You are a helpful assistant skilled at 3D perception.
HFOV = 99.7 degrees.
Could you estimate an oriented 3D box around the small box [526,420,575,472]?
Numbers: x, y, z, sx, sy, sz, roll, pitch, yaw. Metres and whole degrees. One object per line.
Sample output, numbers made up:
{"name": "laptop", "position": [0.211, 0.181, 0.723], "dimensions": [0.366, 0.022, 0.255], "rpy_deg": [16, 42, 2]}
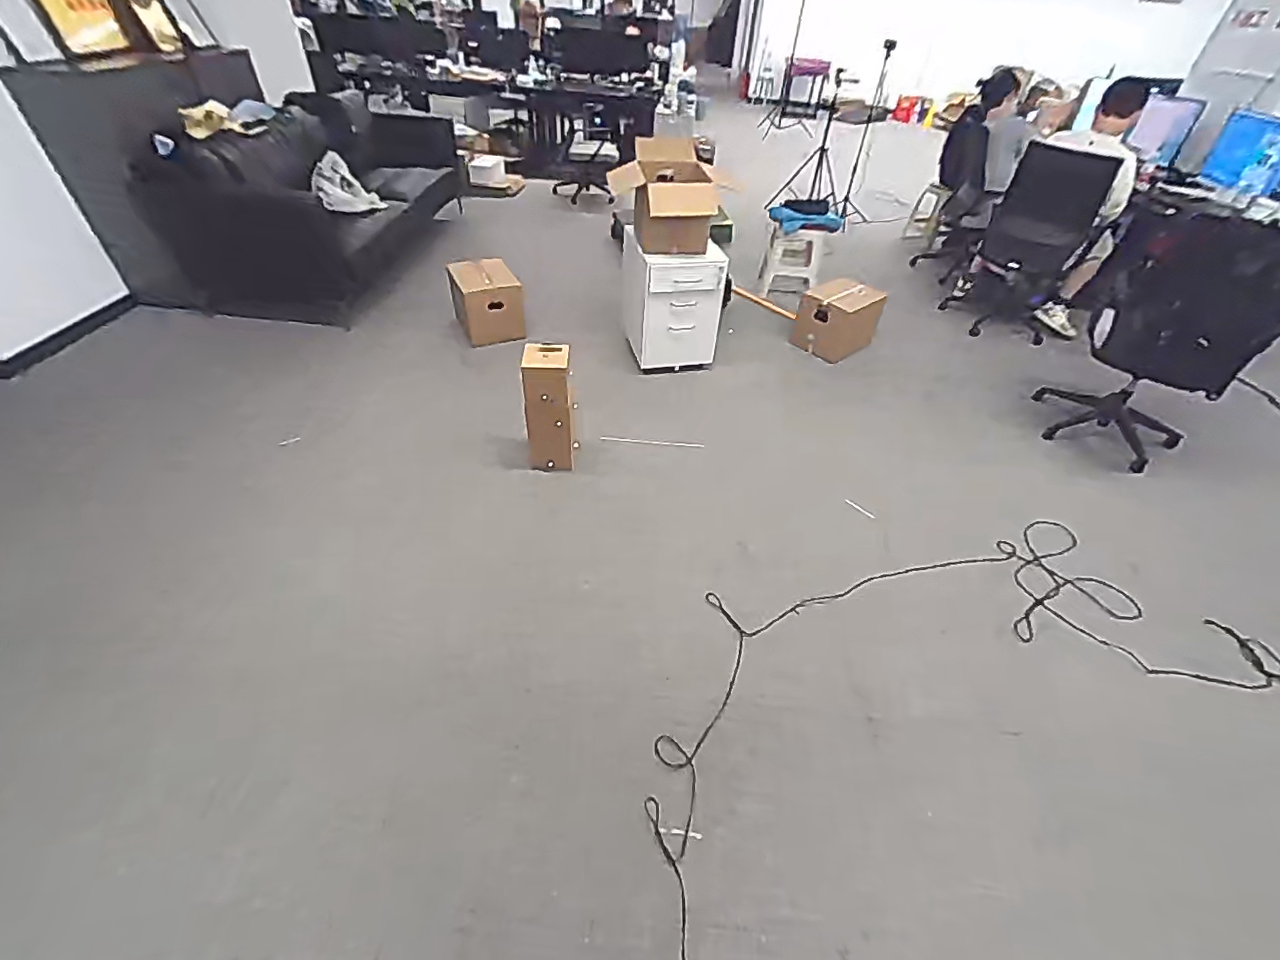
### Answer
{"name": "small box", "position": [-0.371, -0.147, 2.282], "dimensions": [0.179, 0.176, 0.168], "rpy_deg": [4, 42, 0]}

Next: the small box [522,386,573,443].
{"name": "small box", "position": [-0.364, -0.261, 2.165], "dimensions": [0.179, 0.176, 0.168], "rpy_deg": [1, 41, -1]}
